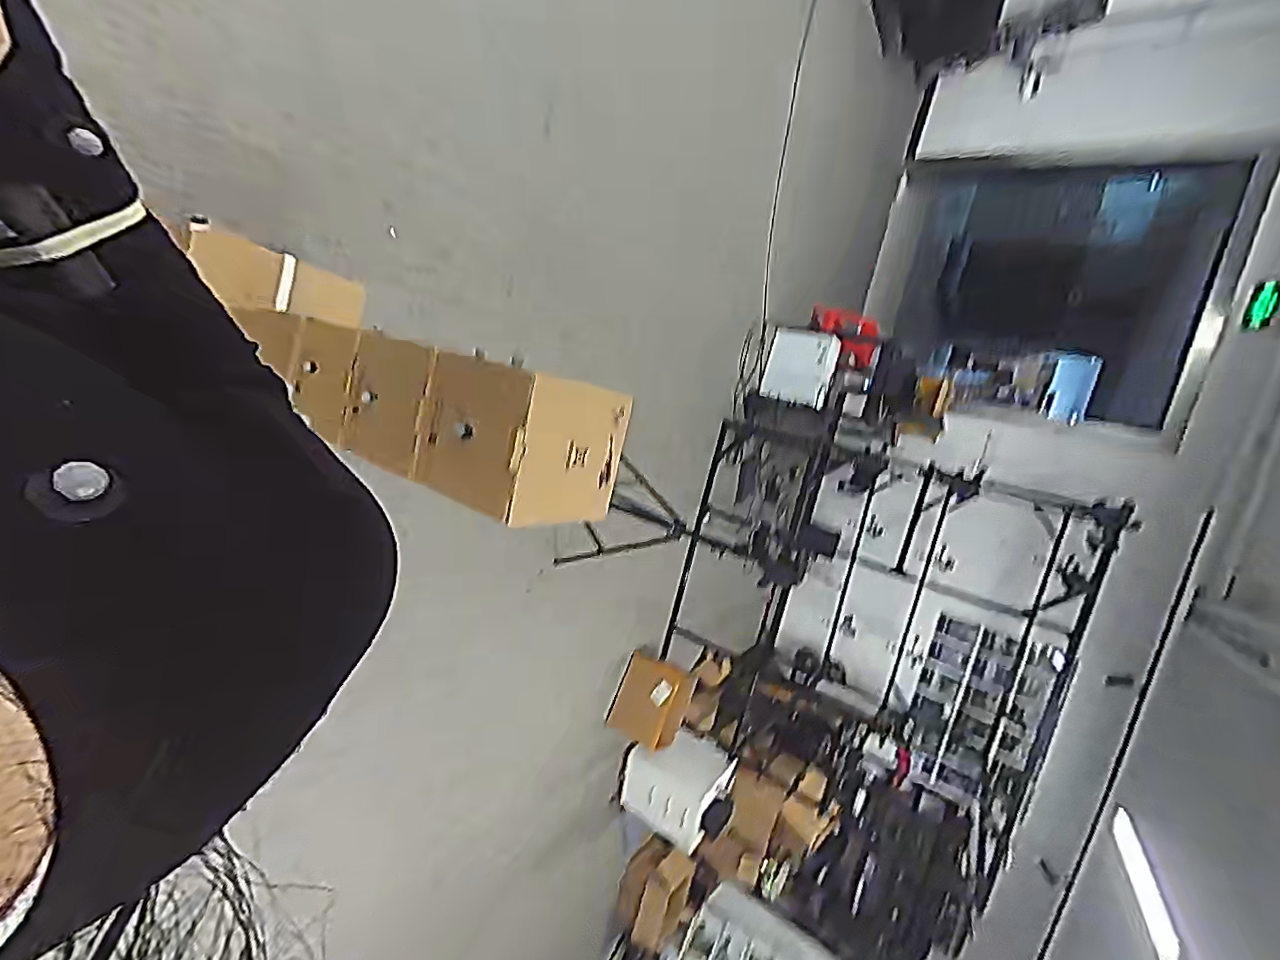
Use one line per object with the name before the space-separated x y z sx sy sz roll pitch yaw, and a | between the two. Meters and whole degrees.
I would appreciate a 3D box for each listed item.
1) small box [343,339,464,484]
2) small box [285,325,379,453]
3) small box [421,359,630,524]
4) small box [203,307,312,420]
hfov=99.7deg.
small box | -0.278 -0.092 0.759 0.179 0.176 0.168 4 101 -56
small box | -0.412 -0.134 0.845 0.179 0.176 0.168 6 100 -56
small box | -0.144 -0.048 0.675 0.179 0.176 0.168 3 103 -55
small box | -0.682 -0.212 1.012 0.168 0.176 0.179 5 102 -56
